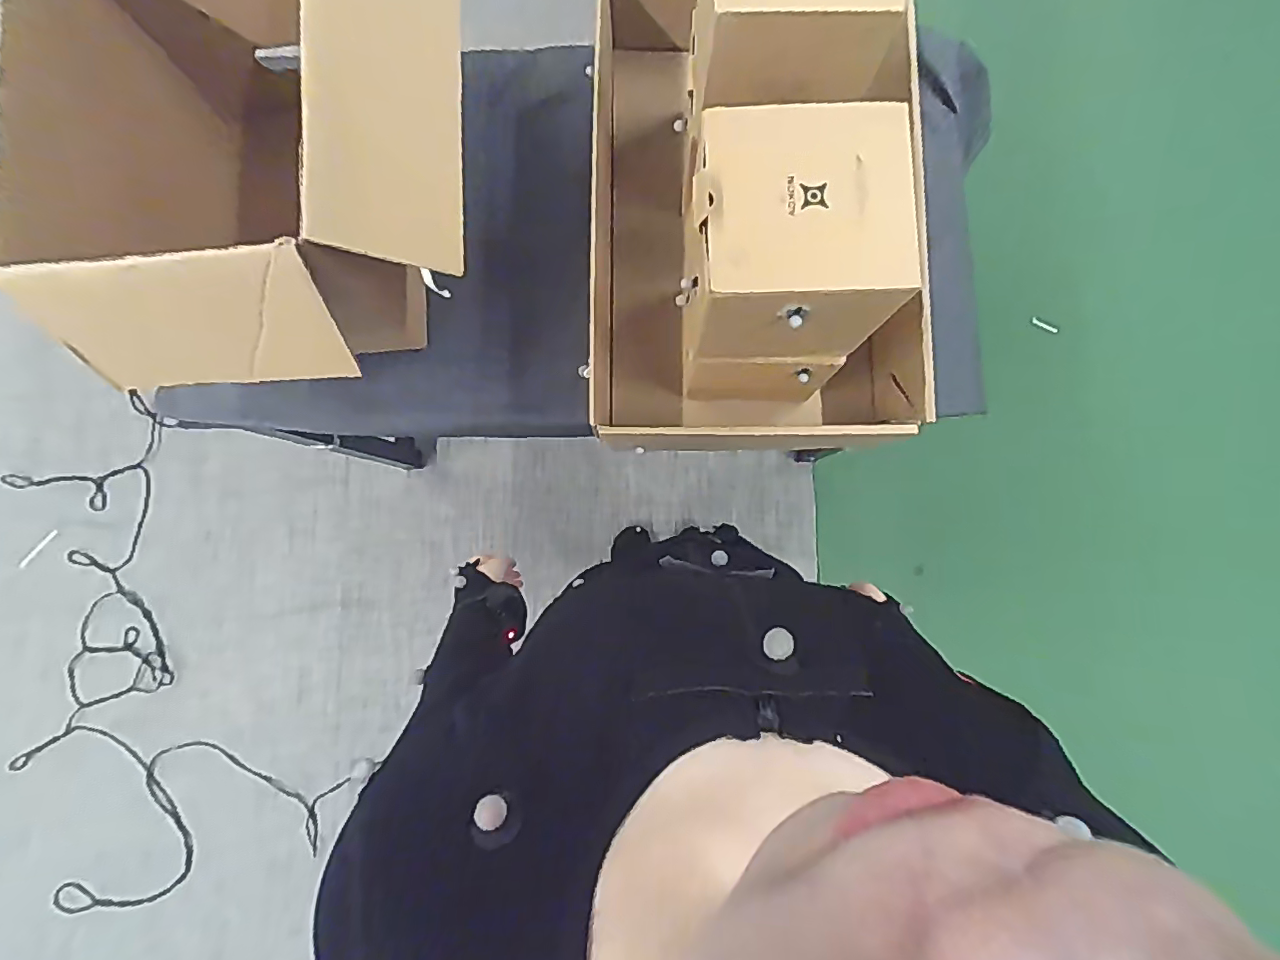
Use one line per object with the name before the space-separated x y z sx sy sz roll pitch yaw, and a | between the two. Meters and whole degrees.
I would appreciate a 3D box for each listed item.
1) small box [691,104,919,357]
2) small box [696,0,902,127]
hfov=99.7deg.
small box | 0.141 -0.225 0.528 0.179 0.176 0.168 -1 84 1
small box | 0.146 -0.478 0.549 0.168 0.176 0.179 1 87 1
